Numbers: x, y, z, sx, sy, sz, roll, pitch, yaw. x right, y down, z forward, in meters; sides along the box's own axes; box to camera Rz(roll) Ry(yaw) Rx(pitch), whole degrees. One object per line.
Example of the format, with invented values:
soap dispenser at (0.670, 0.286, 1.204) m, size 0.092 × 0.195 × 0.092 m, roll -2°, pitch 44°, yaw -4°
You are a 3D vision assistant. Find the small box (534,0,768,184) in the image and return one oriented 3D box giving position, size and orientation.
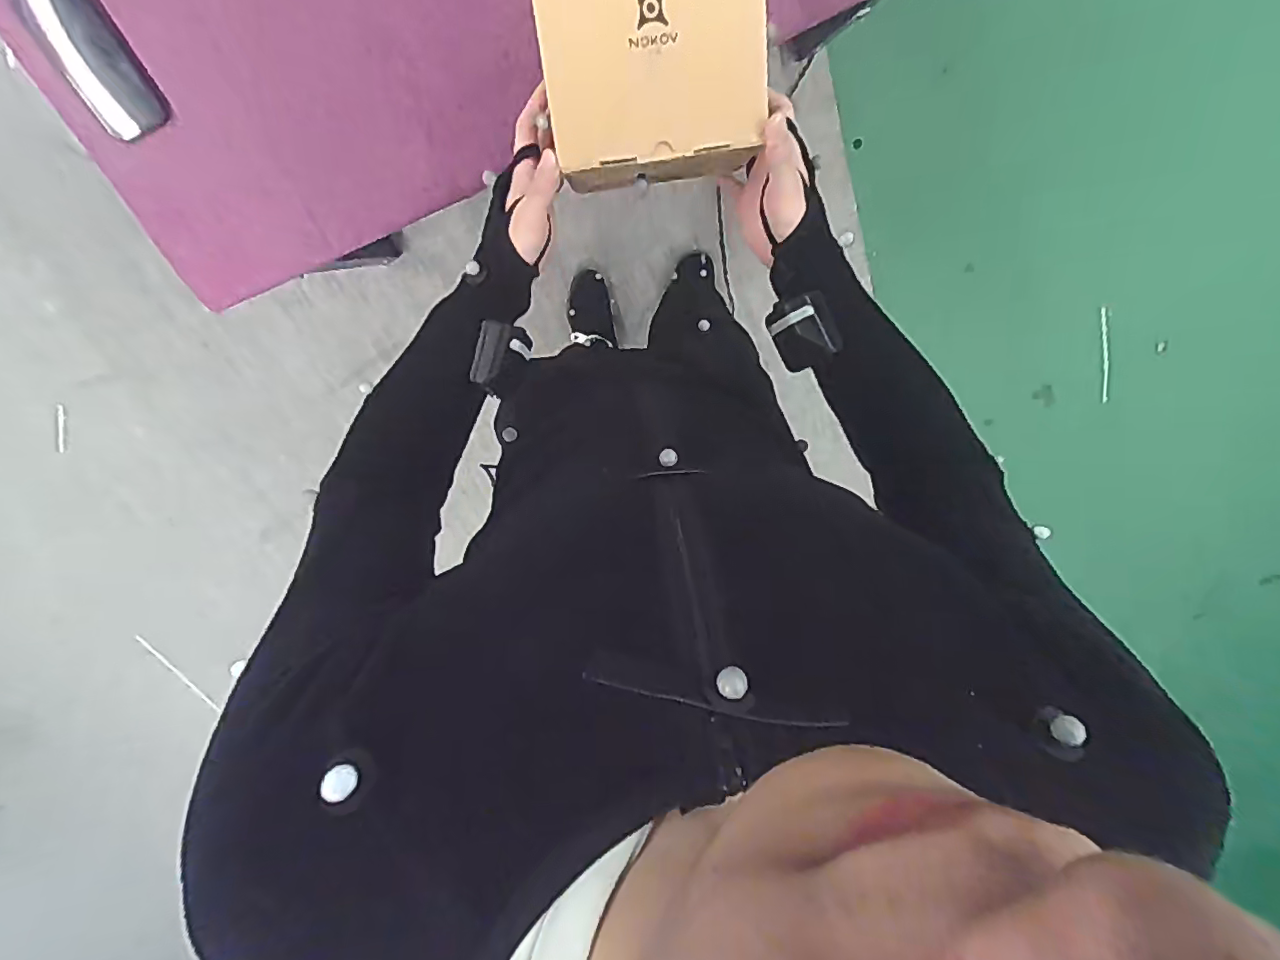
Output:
small box at (0.004, -0.365, 0.455) m, size 0.168 × 0.176 × 0.179 m, roll -8°, pitch 114°, yaw 1°
